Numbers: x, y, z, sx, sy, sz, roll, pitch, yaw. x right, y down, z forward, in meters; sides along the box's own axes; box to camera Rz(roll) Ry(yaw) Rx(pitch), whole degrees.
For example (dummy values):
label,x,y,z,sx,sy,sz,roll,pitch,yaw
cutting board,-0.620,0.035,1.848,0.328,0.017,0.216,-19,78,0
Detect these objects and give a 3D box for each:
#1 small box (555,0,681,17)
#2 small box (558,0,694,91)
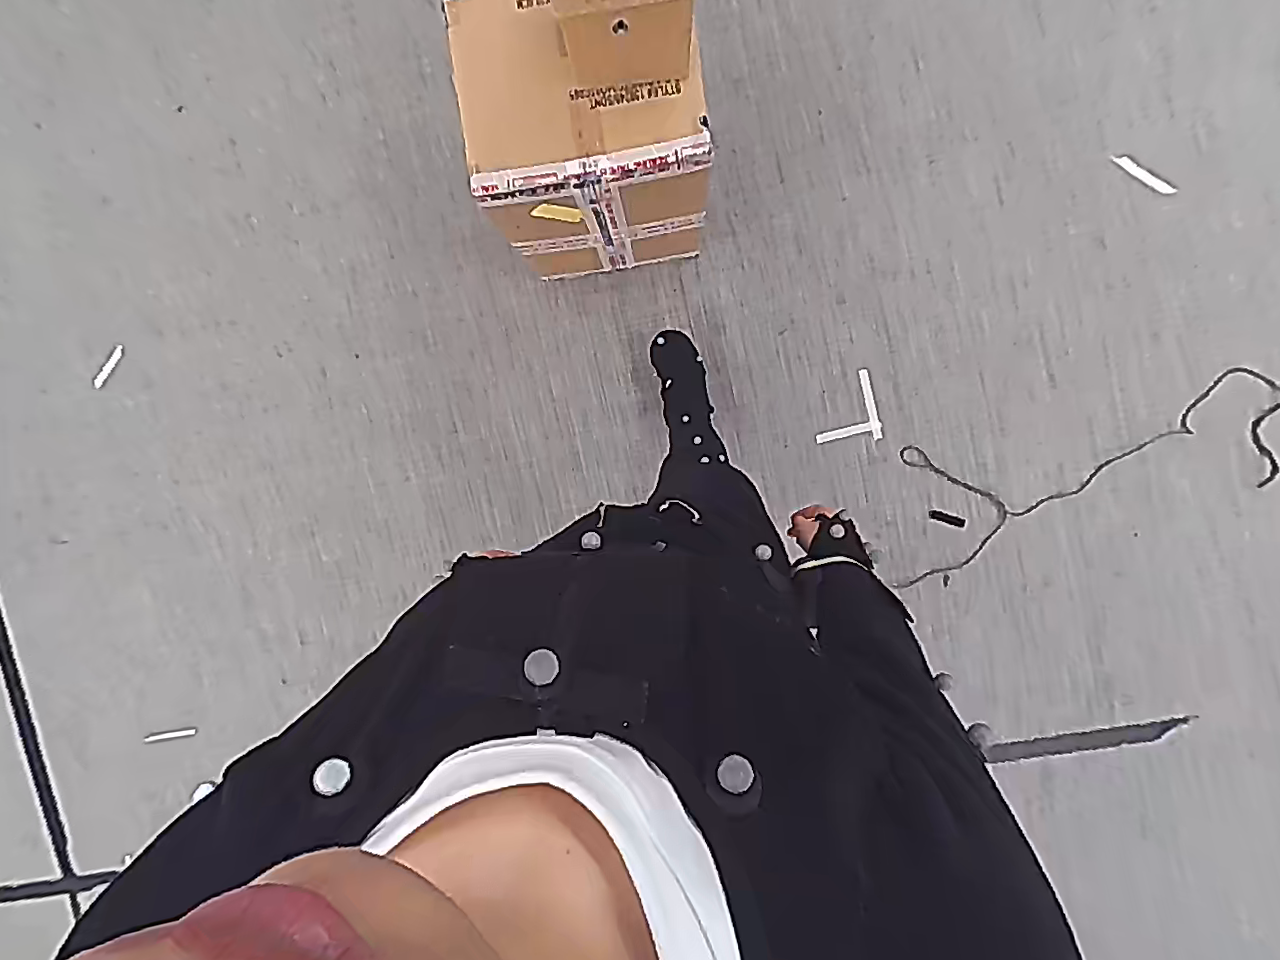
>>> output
label,x,y,z,sx,sy,sz,roll,pitch,yaw
small box,-0.035,-0.654,0.588,0.168,0.176,0.179,-7,94,3
small box,-0.018,-0.676,0.748,0.179,0.176,0.168,-5,95,2
